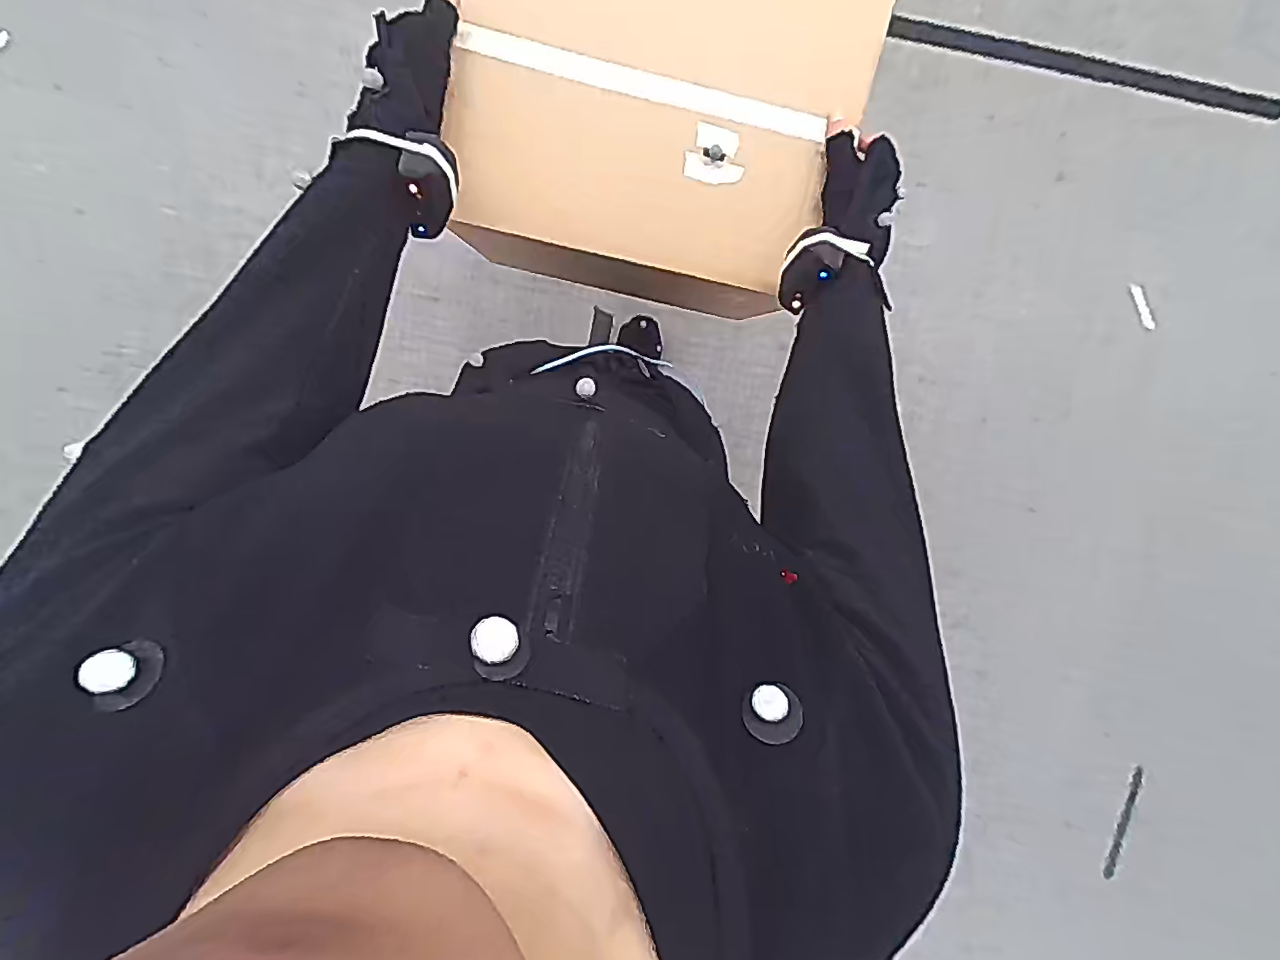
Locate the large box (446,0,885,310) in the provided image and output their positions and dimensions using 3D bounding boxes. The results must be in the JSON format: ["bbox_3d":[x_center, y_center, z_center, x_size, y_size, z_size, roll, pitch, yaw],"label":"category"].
[{"bbox_3d":[0.010,-0.417,0.679,0.408,0.320,0.320,10,103,-7],"label":"large box"}]
